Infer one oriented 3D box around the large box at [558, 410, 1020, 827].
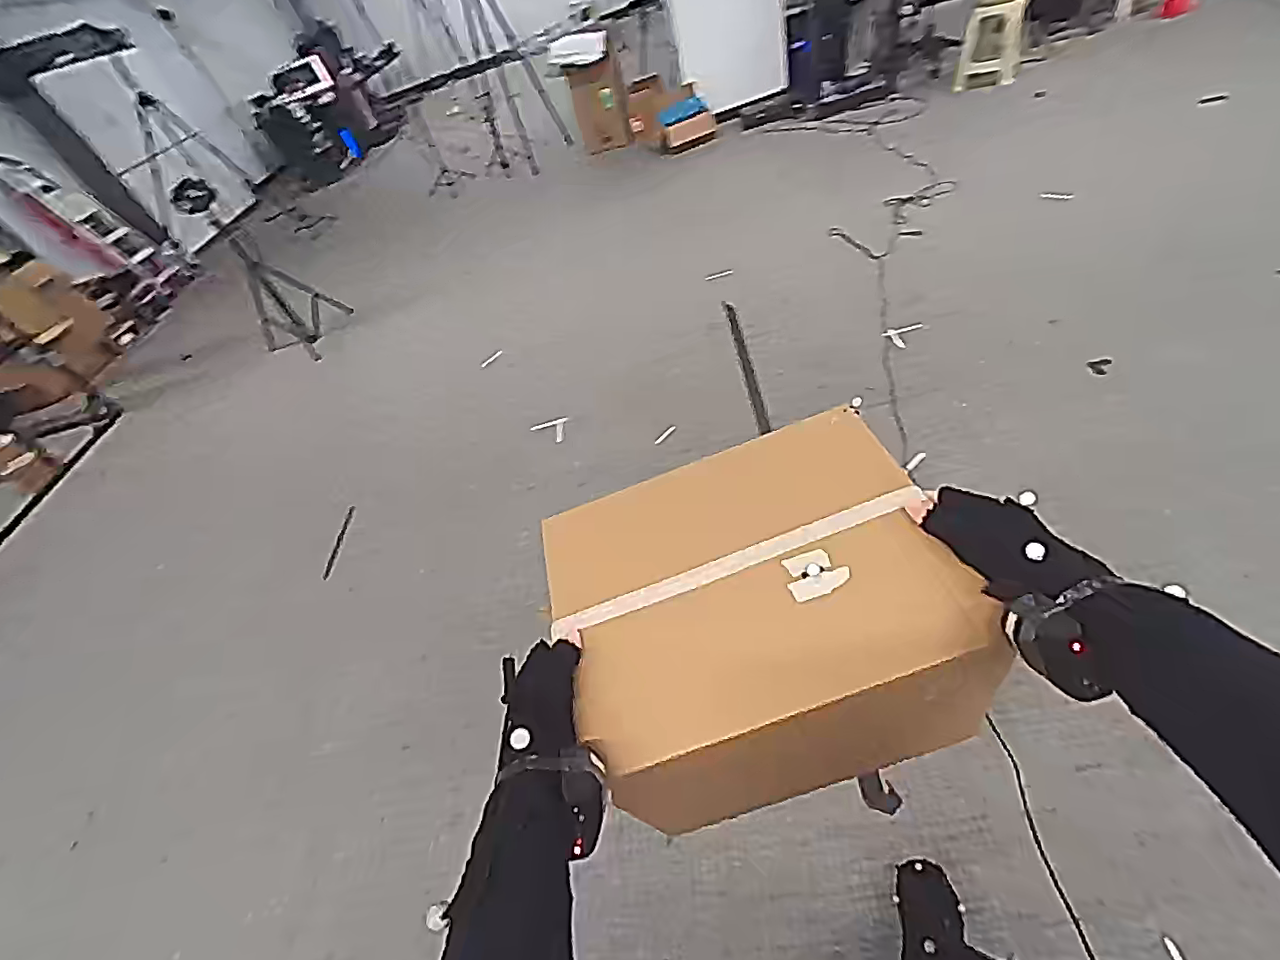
[{"bbox_3d":[0.153,0.181,0.681,0.408,0.320,0.320,-21,47,3],"label":"large box"}]
